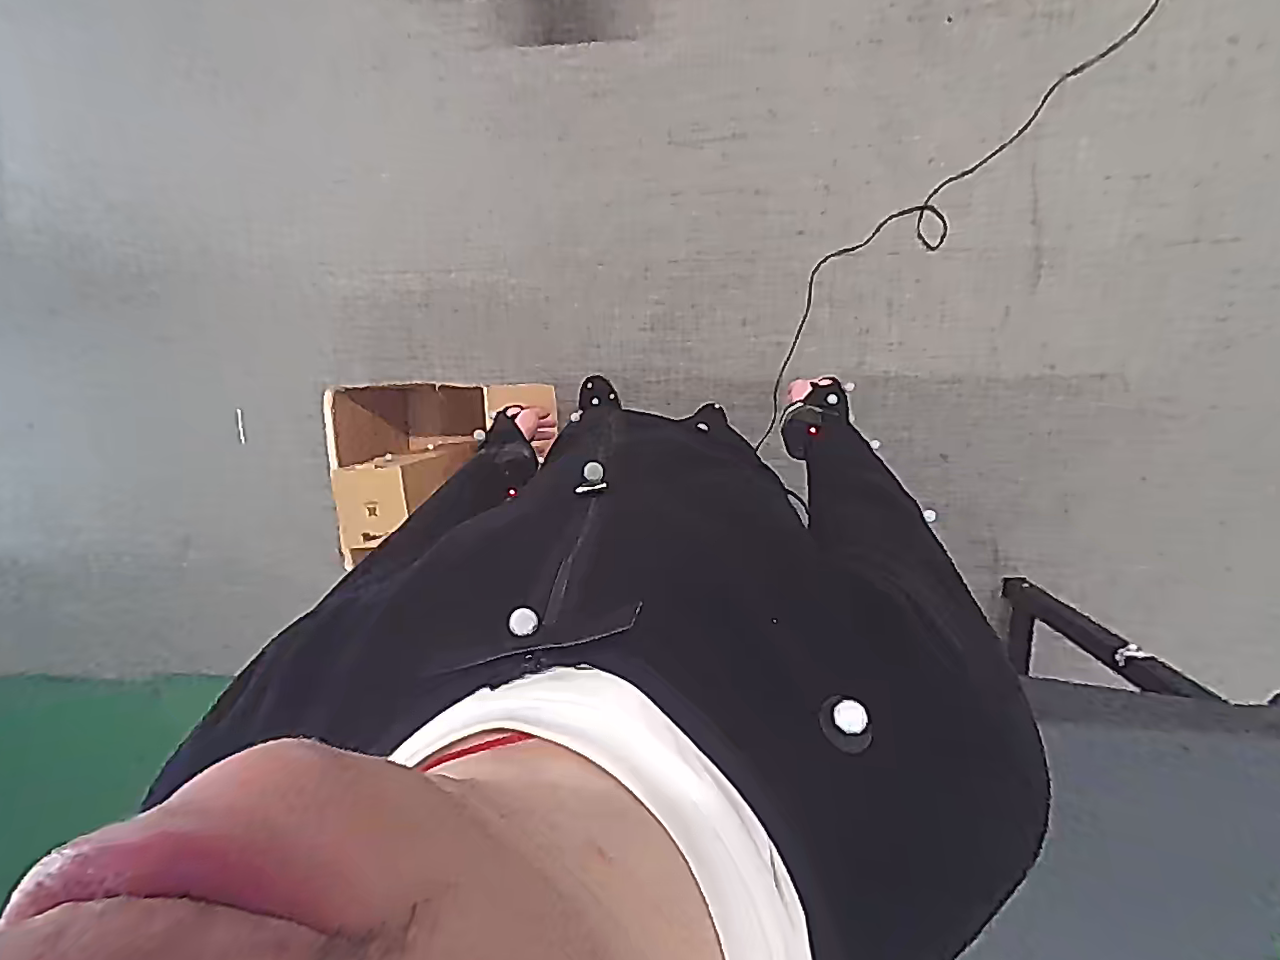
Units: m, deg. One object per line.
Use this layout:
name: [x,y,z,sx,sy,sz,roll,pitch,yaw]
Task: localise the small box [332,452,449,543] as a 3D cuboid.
small box: [-0.562,0.032,1.241,0.168,0.176,0.179,-7,100,8]
